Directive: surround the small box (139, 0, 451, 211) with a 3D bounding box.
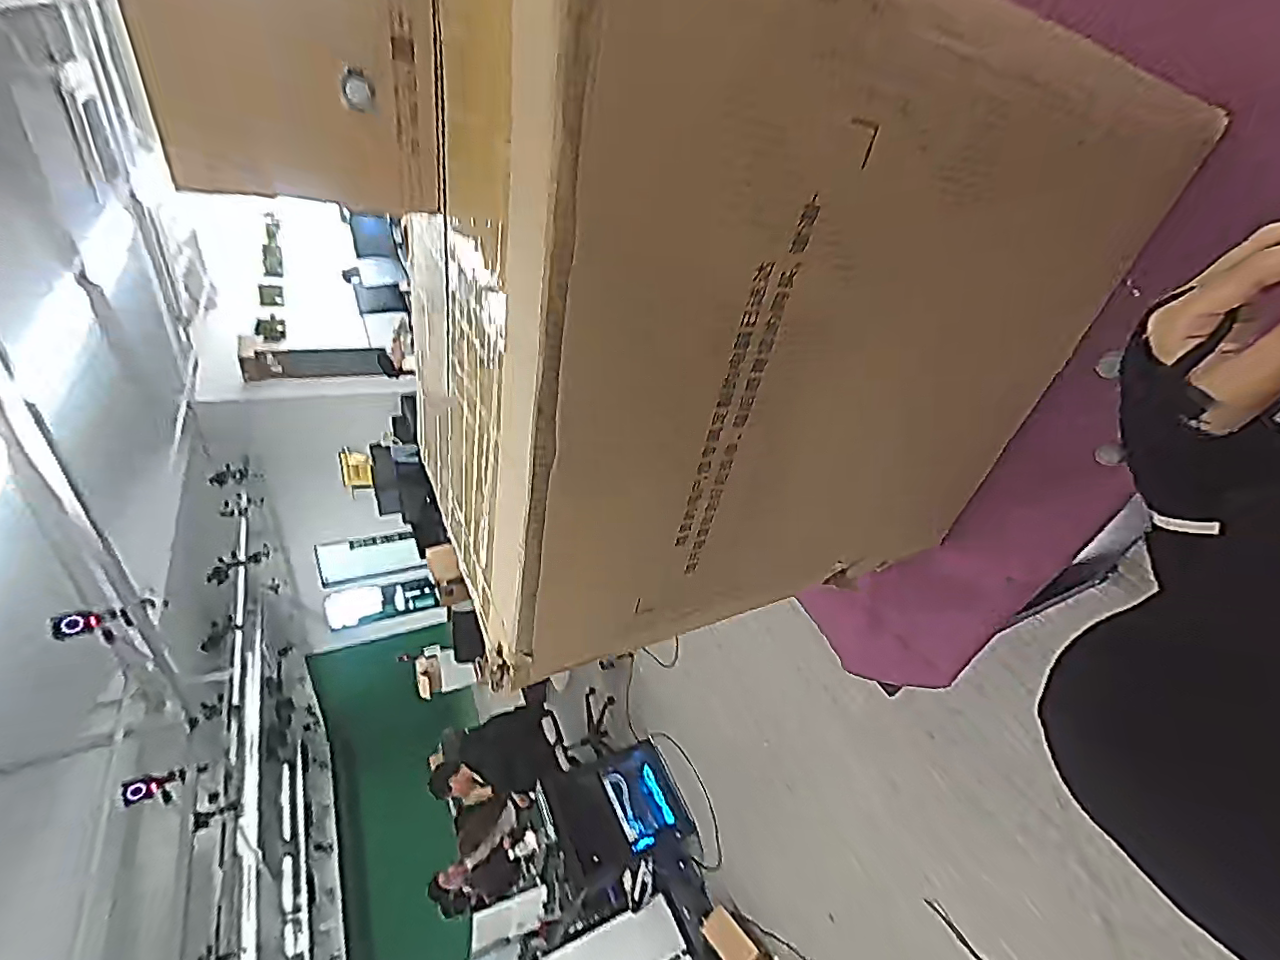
[{"bbox_3d":[-0.245,-0.314,0.404,0.179,0.176,0.168,55,143,40],"label":"small box"}]
